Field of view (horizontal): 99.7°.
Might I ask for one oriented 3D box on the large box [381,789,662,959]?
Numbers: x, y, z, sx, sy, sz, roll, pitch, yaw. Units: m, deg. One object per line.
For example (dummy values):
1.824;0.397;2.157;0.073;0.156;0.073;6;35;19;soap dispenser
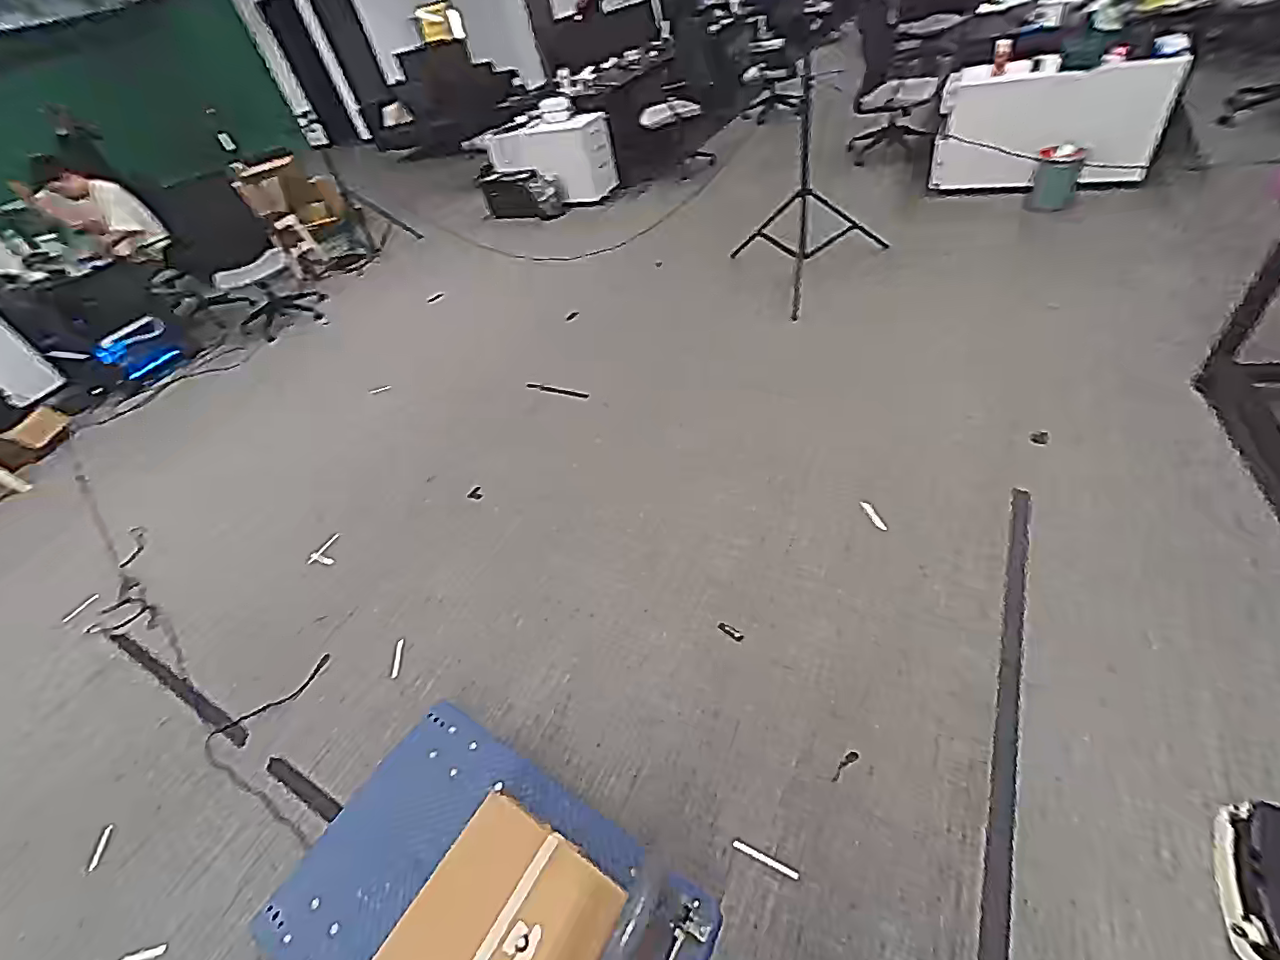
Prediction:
-0.210;0.849;0.925;0.320;0.320;0.408;18;52;30;large box
